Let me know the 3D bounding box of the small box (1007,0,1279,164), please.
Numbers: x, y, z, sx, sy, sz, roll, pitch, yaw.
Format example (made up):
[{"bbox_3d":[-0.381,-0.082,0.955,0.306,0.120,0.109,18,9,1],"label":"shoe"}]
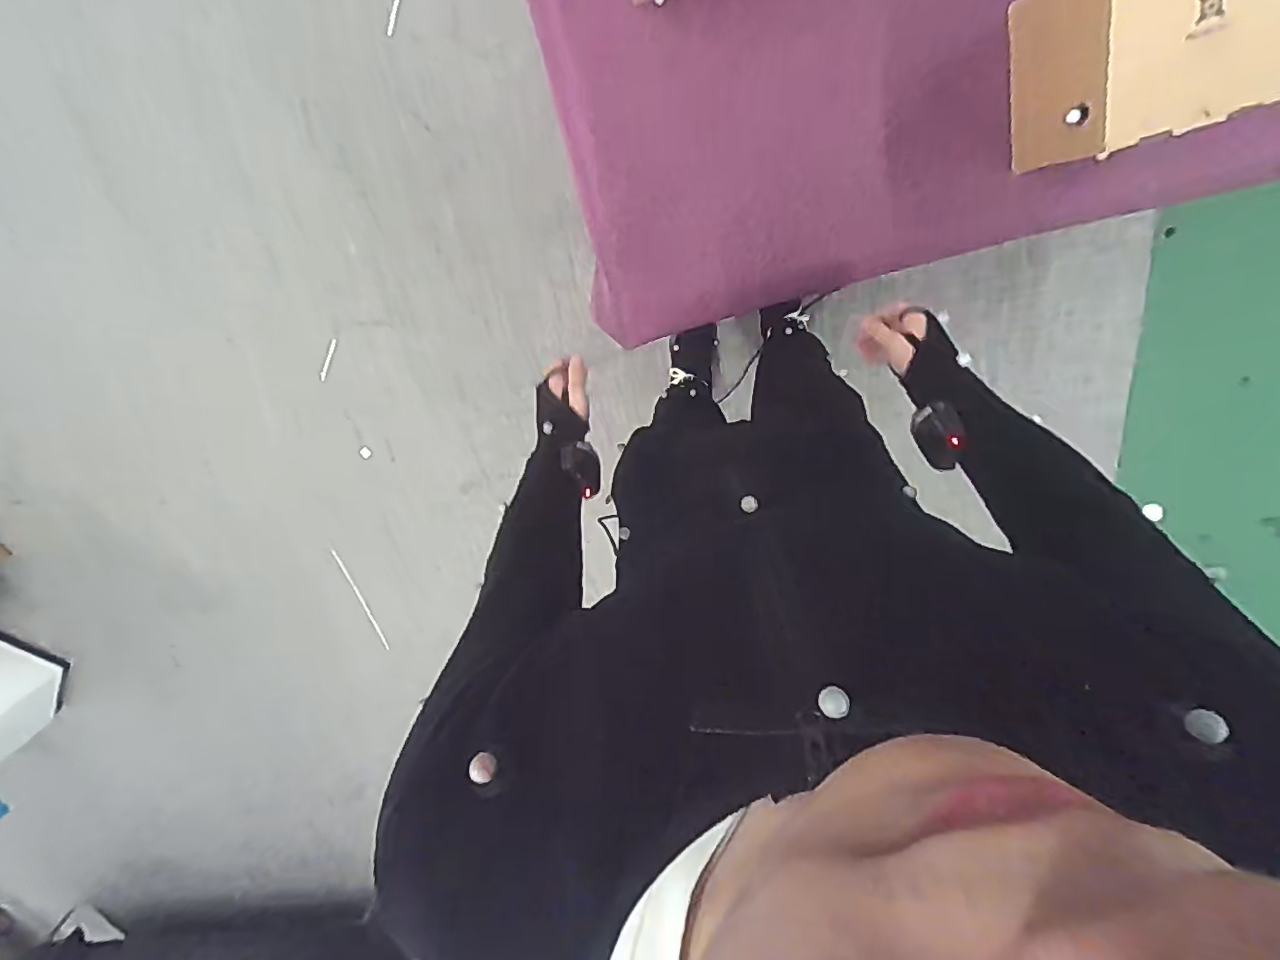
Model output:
[{"bbox_3d":[0.504,-0.449,0.550,0.168,0.176,0.179,-13,113,10],"label":"small box"}]
